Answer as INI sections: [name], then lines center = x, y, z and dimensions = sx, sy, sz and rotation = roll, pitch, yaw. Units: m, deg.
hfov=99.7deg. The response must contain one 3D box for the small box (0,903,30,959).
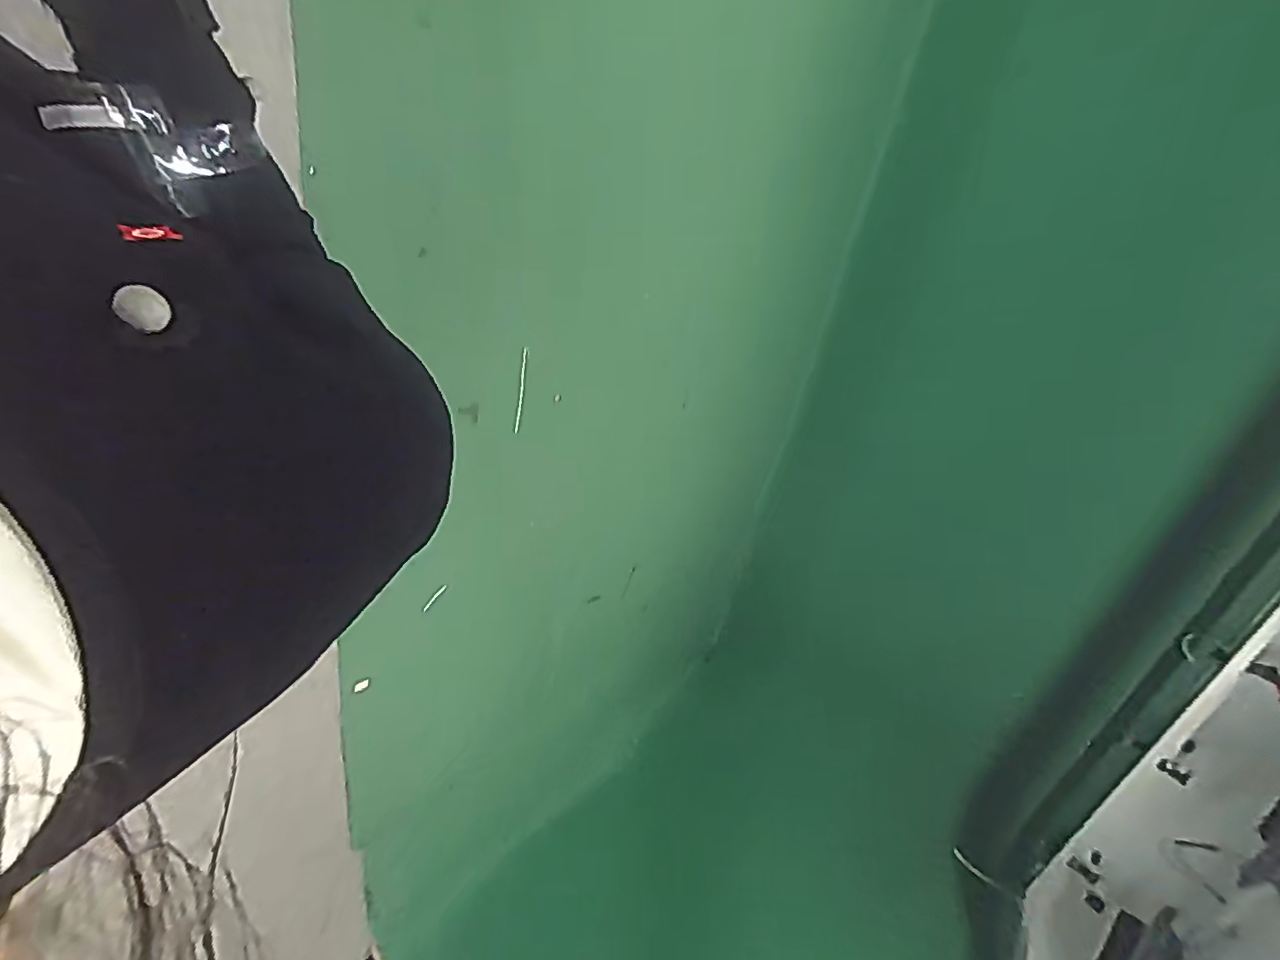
[small box]
center = -1.570, 1.160, 1.263
dimensions = 0.179, 0.176, 0.168
rotation = -21, 132, -49
